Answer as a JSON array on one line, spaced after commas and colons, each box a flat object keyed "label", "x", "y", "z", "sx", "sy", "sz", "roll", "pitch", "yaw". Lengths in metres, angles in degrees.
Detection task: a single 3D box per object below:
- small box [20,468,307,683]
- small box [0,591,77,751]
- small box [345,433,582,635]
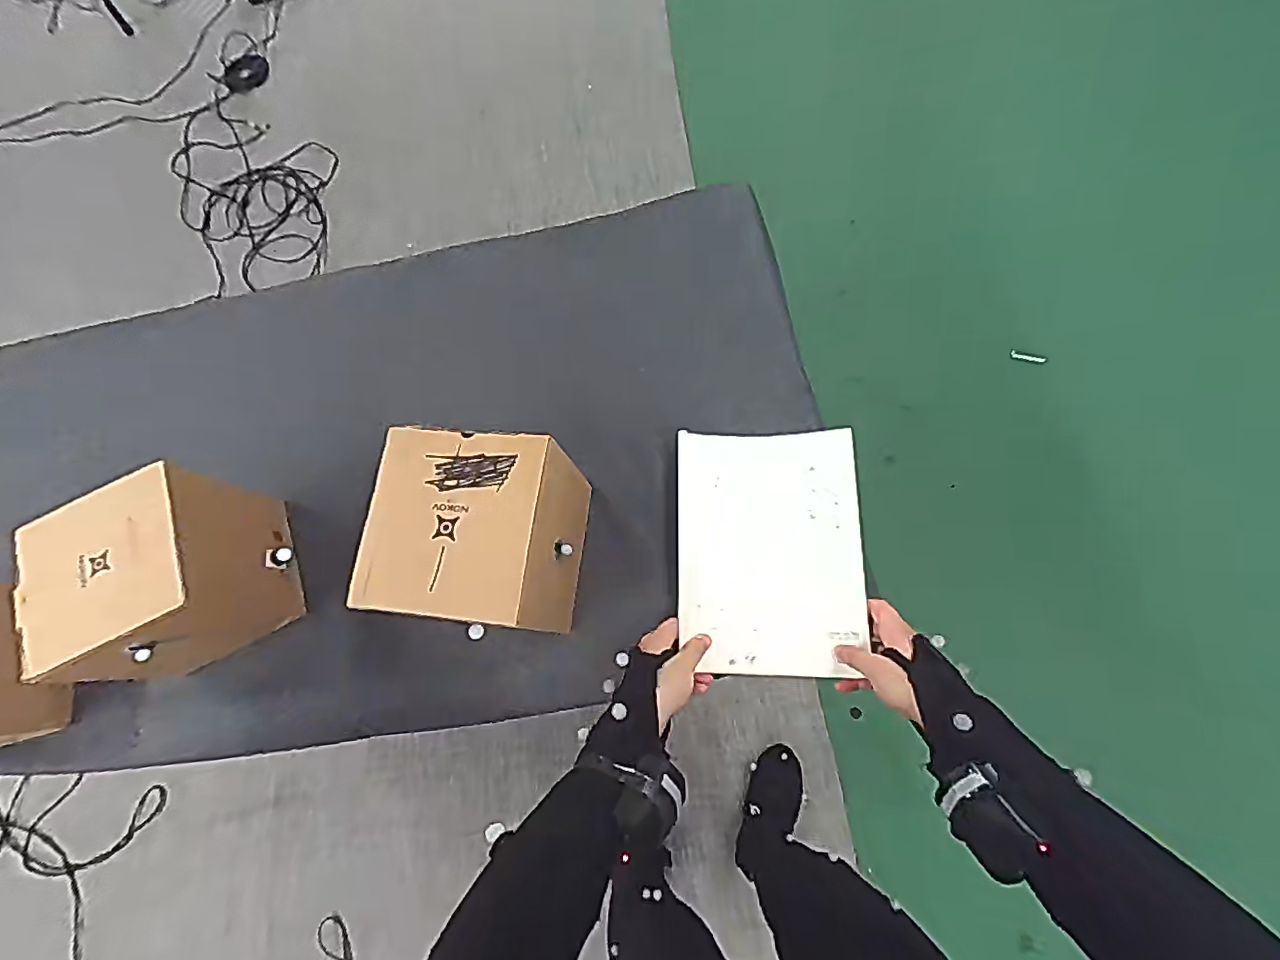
[{"label": "small box", "x": -0.533, "y": 0.115, "z": 0.621, "sx": 0.179, "sy": 0.176, "sz": 0.168, "roll": -26, "pitch": 72, "yaw": -1}, {"label": "small box", "x": -0.813, "y": 0.231, "z": 0.628, "sx": 0.168, "sy": 0.176, "sz": 0.179, "roll": -16, "pitch": 72, "yaw": 4}, {"label": "small box", "x": -0.166, "y": 0.065, "z": 0.574, "sx": 0.168, "sy": 0.176, "sz": 0.179, "roll": 4, "pitch": 74, "yaw": 11}]
